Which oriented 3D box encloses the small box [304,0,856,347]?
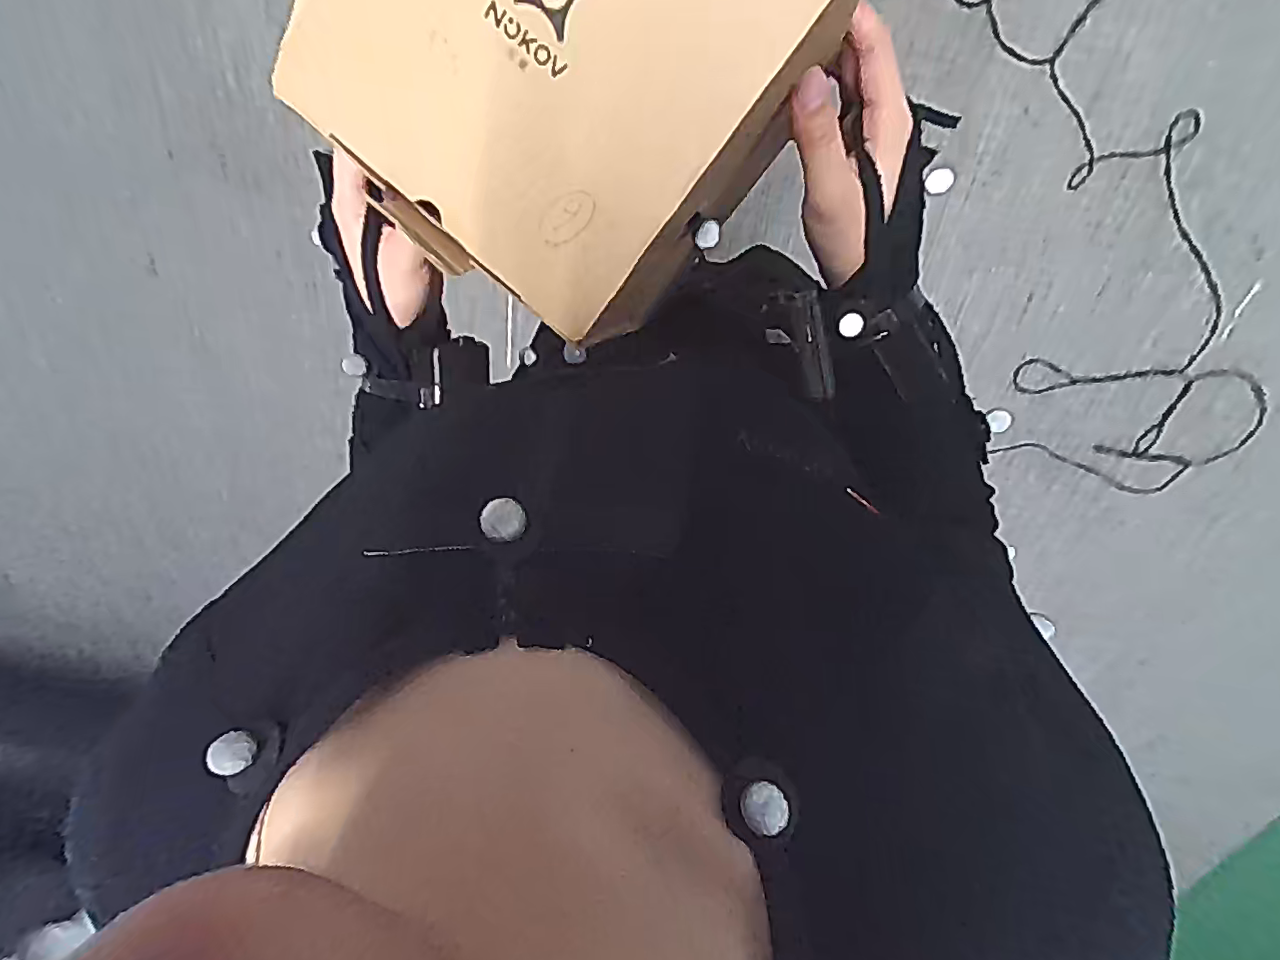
[{"bbox_3d":[-0.018,-0.195,0.283,0.168,0.176,0.179,41,111,-5],"label":"small box"}]
